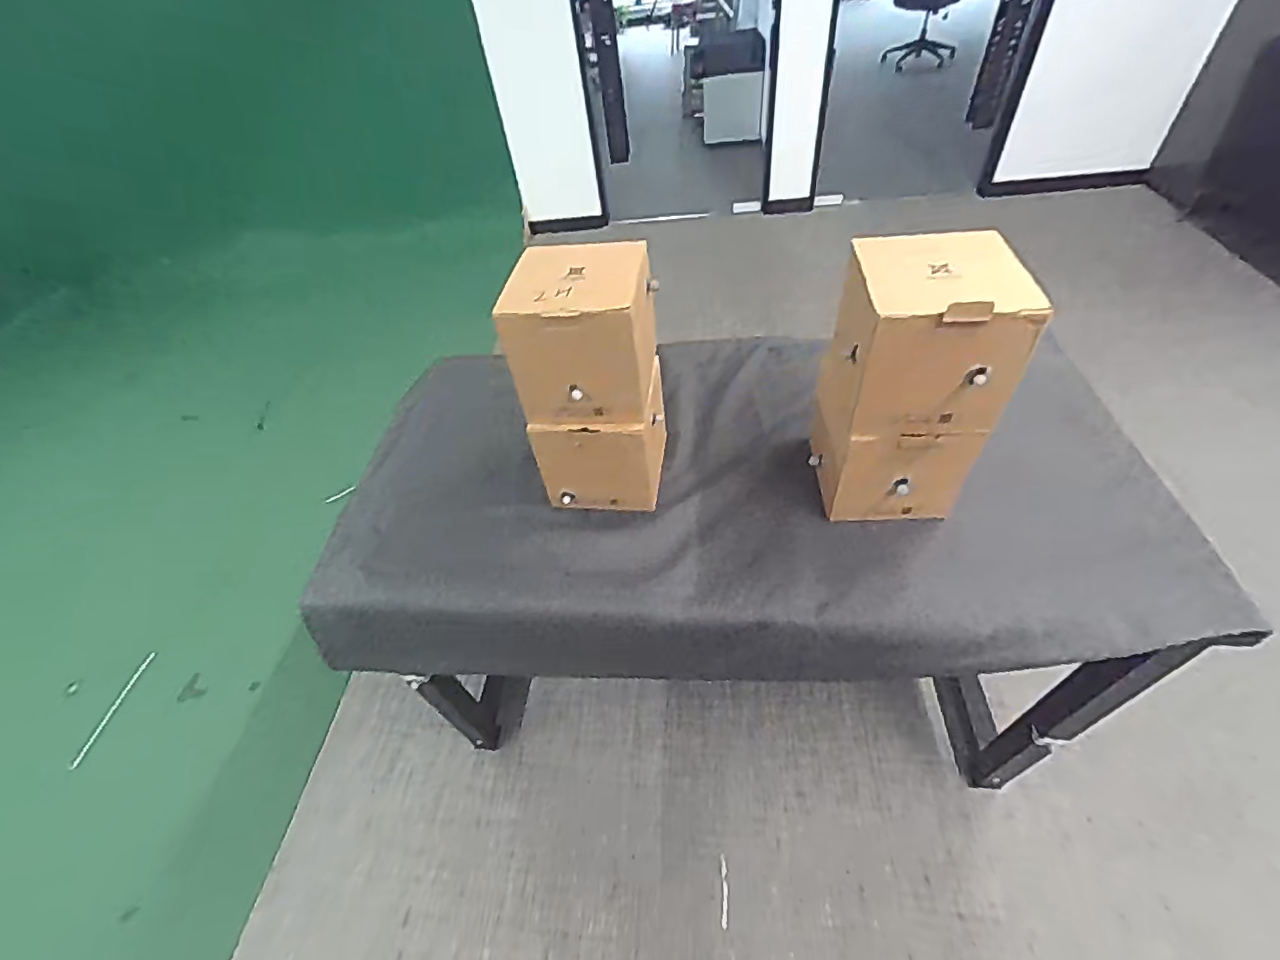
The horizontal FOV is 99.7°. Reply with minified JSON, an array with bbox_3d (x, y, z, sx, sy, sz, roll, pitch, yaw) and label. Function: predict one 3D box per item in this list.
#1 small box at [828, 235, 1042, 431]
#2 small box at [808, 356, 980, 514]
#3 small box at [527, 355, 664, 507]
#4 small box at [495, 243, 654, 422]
[{"bbox_3d":[0.332,-0.172,0.653,0.168,0.176,0.179,1,47,8],"label":"small box"},{"bbox_3d":[0.344,-0.062,0.773,0.168,0.176,0.179,-2,48,6],"label":"small box"},{"bbox_3d":[-0.056,-0.075,0.840,0.168,0.176,0.179,2,47,10],"label":"small box"},{"bbox_3d":[-0.073,-0.198,0.730,0.168,0.176,0.179,0,47,9],"label":"small box"}]
